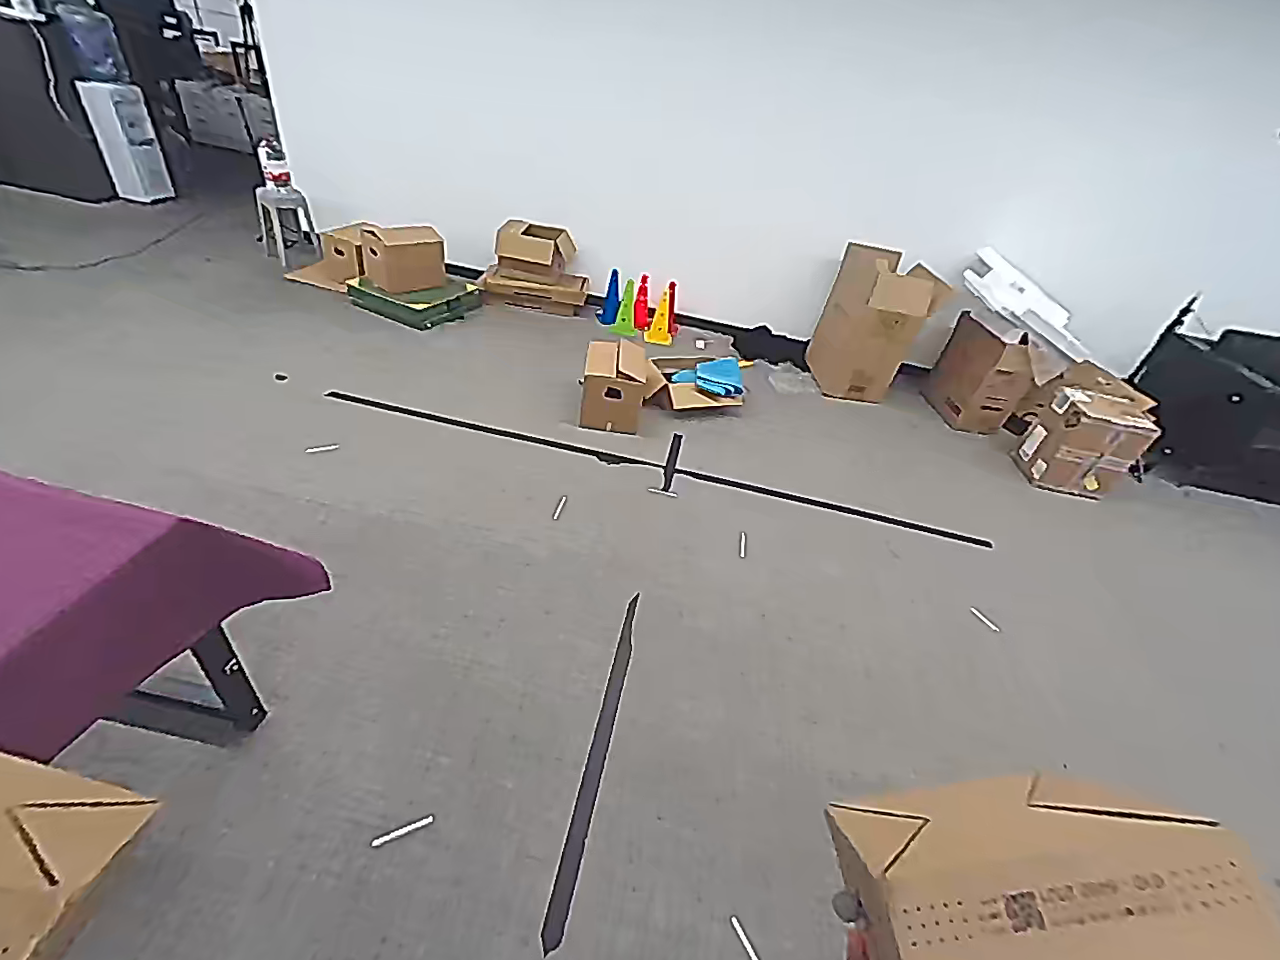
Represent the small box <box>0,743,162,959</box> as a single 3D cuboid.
[{"bbox_3d":[-0.343,0.198,0.210,0.168,0.179,0.176,30,59,-18],"label":"small box"}]
